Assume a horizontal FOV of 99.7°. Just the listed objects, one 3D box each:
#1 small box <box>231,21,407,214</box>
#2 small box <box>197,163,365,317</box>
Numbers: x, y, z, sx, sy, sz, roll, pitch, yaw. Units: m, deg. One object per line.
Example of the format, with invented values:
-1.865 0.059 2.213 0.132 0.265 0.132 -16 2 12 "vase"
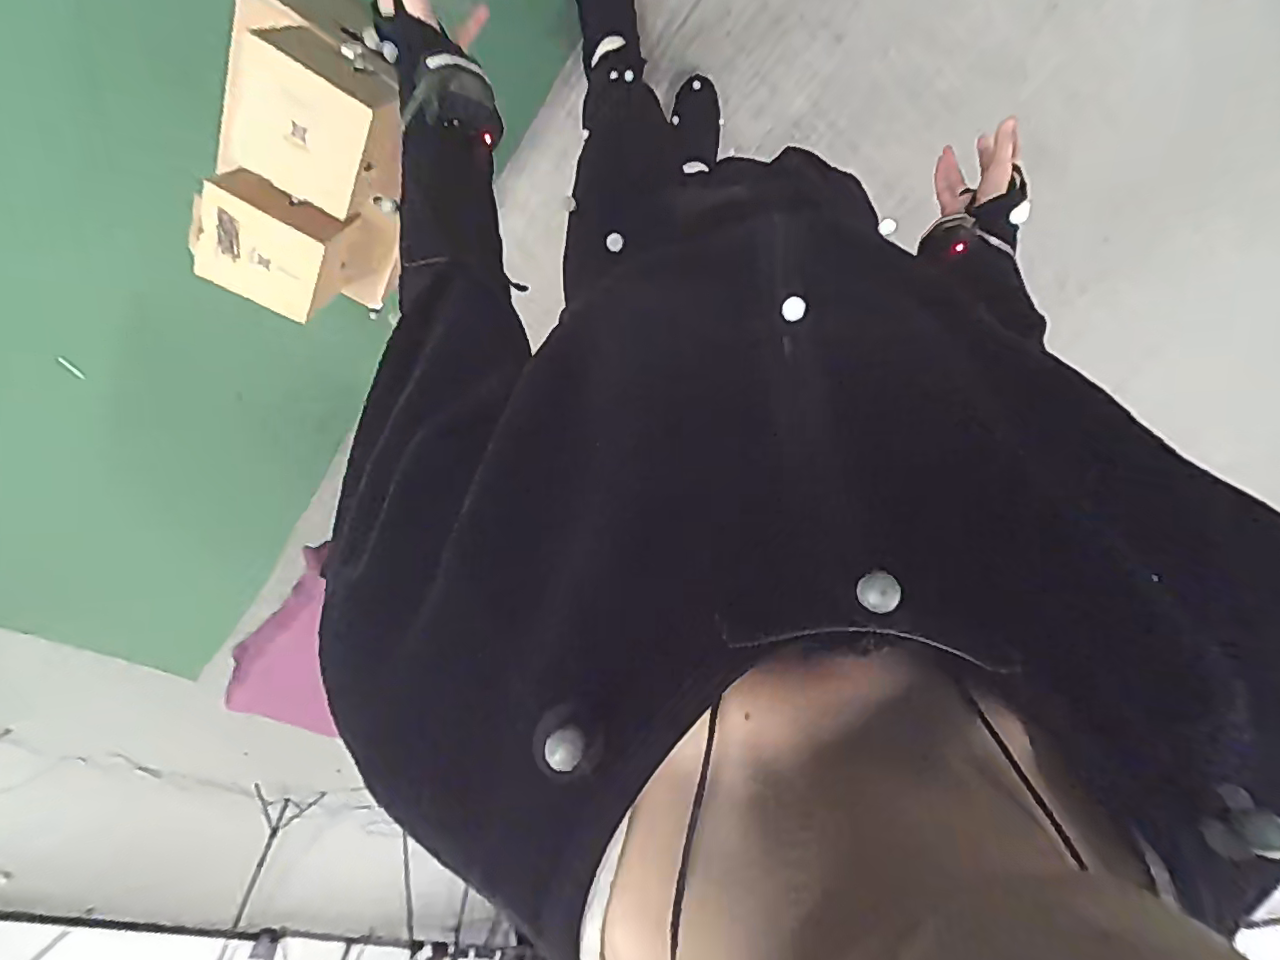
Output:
-0.482 -0.554 0.829 0.168 0.176 0.179 26 126 -23 "small box"
-0.616 -0.424 0.941 0.179 0.176 0.168 26 126 -22 "small box"
